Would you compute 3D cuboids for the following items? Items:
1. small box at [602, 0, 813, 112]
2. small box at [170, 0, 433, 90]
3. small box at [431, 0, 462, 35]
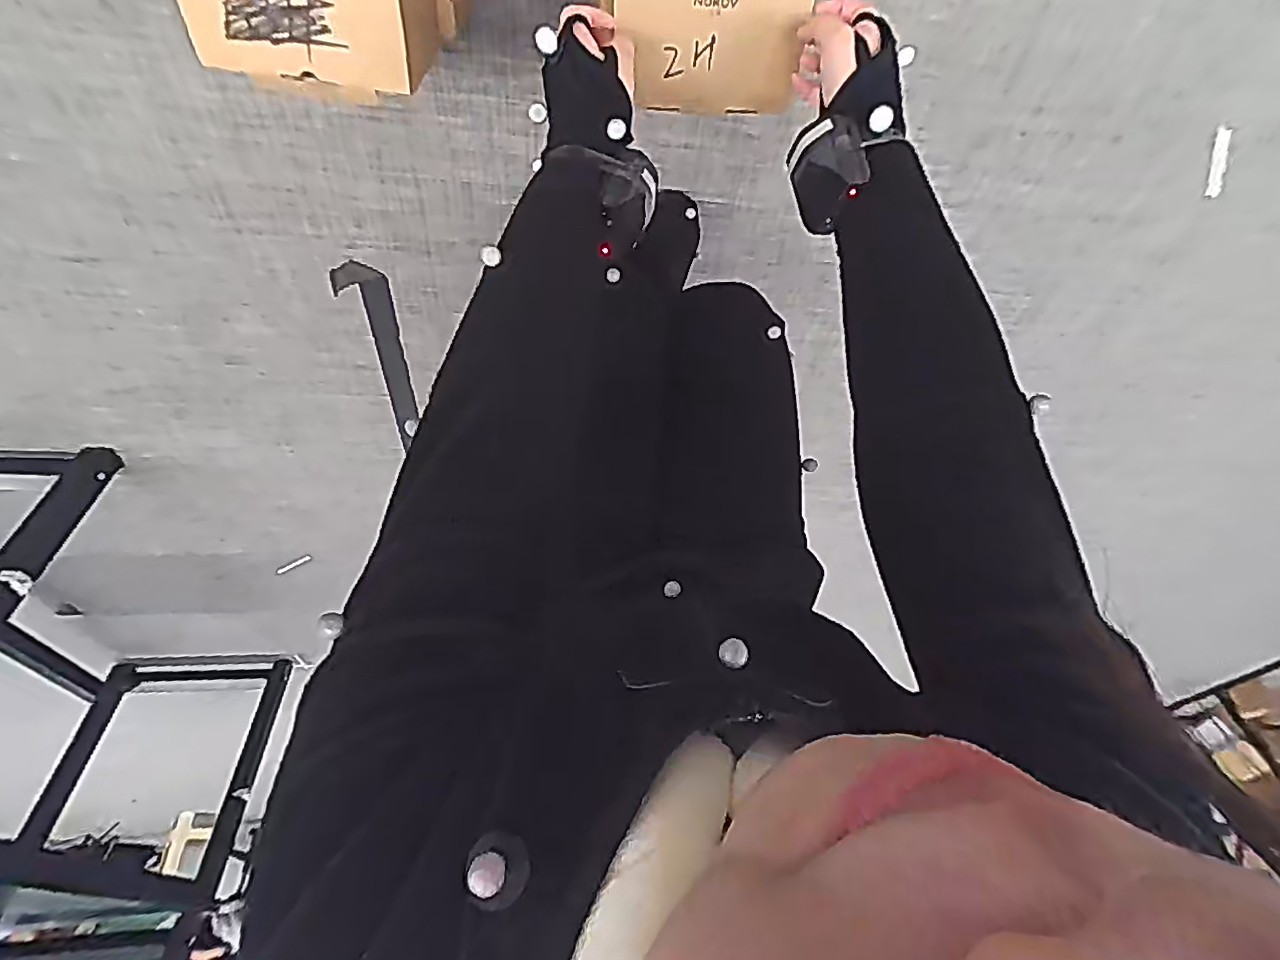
[{"bbox_3d":[0.052,-0.450,0.473,0.168,0.176,0.179,-1,138,-5],"label":"small box"},{"bbox_3d":[-0.273,-0.452,0.436,0.168,0.176,0.179,1,138,-10],"label":"small box"},{"bbox_3d":[-0.278,-0.578,0.541,0.179,0.176,0.168,0,139,-8],"label":"small box"}]
